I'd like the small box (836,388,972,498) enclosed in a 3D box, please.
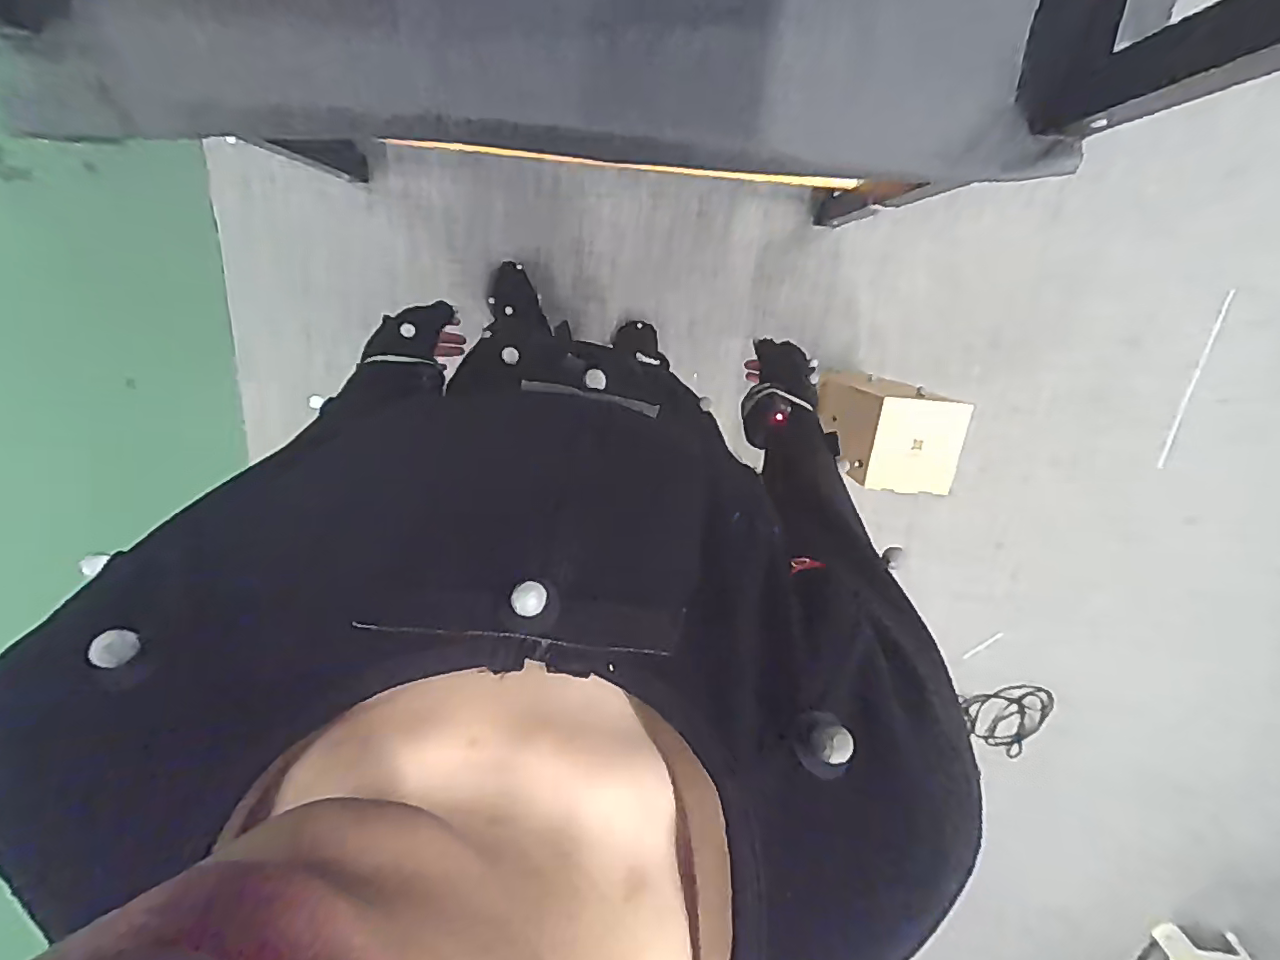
[{"bbox_3d":[0.501,-0.079,1.055,0.168,0.176,0.179,5,109,-1],"label":"small box"}]

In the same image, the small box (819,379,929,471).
[{"bbox_3d":[0.514,-0.124,1.212,0.168,0.176,0.179,2,108,-1],"label":"small box"}]
